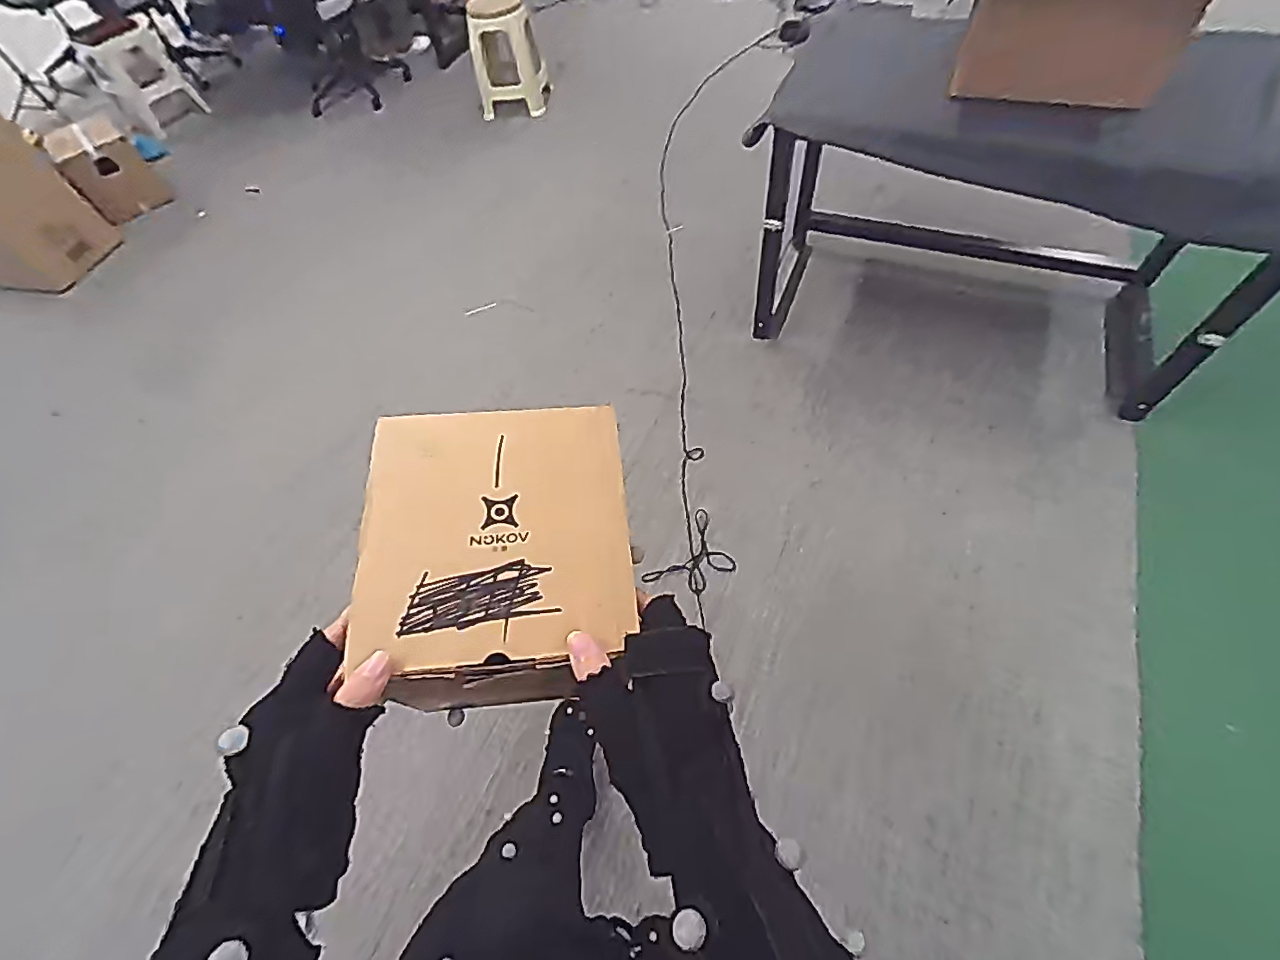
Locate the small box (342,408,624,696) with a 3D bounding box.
[{"bbox_3d":[-0.100,0.065,0.420,0.168,0.176,0.179,-2,60,-6],"label":"small box"}]
